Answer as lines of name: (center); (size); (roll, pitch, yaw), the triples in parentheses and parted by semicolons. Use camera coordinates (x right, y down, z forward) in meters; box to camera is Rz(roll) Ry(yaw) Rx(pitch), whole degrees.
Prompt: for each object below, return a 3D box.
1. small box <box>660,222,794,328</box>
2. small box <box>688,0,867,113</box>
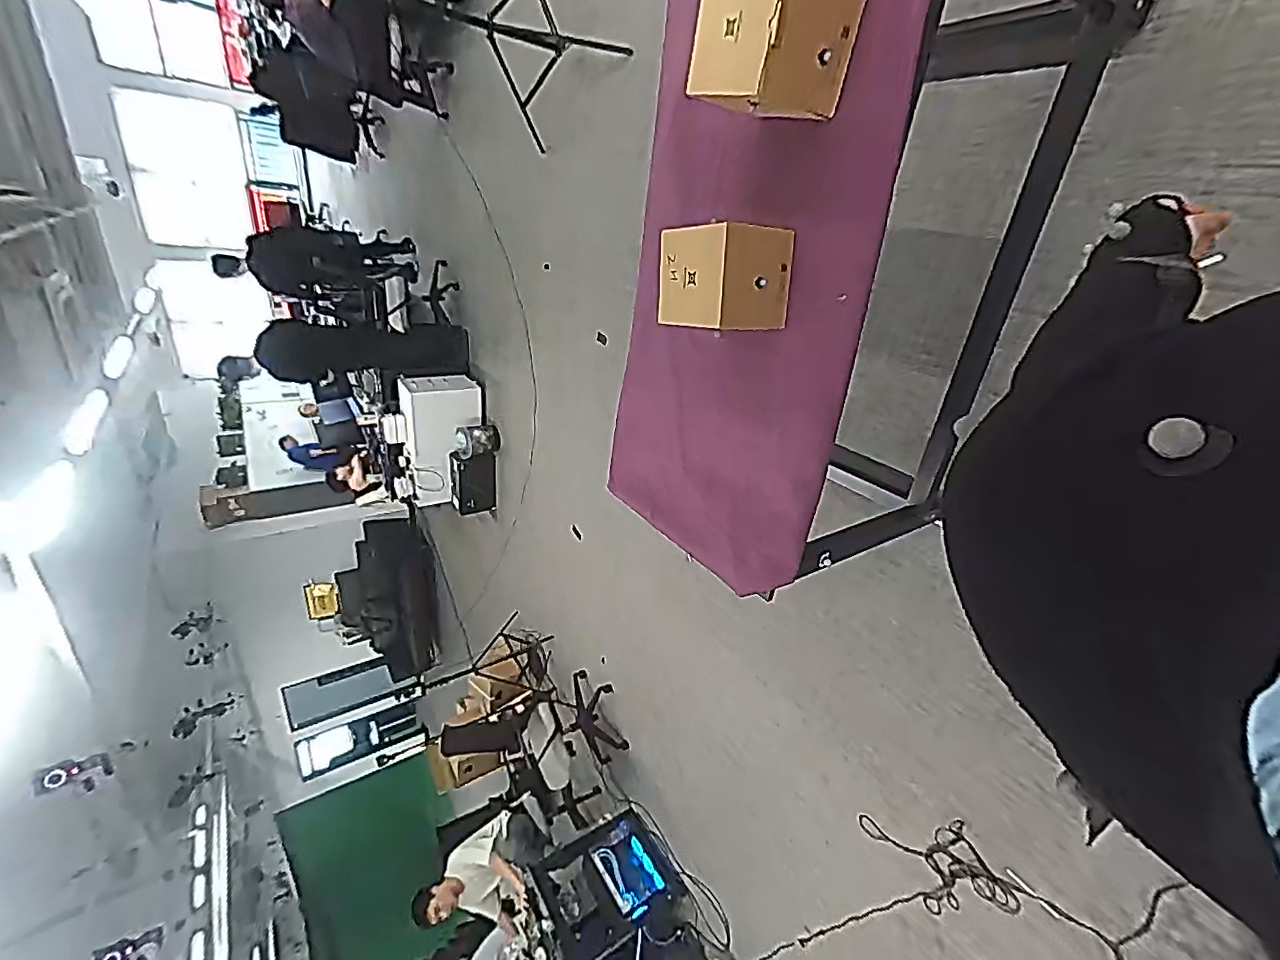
small box: (0.156, -0.370, 0.984); (0.179, 0.176, 0.168); (27, 121, 51)
small box: (0.203, -0.671, 0.820); (0.179, 0.176, 0.168); (43, 134, 43)
